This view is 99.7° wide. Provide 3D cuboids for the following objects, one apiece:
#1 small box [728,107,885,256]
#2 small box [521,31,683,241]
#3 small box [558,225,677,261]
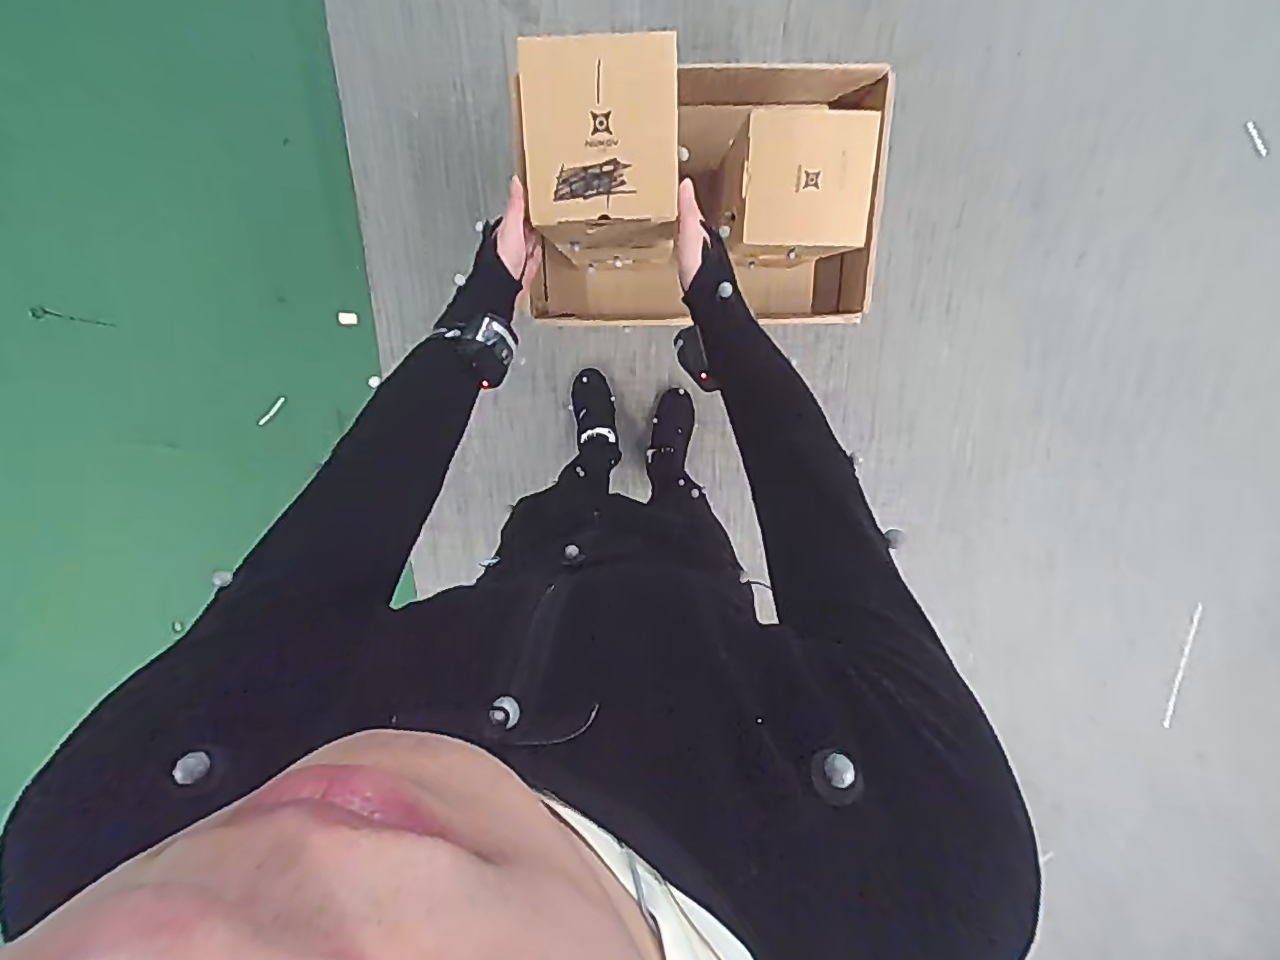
[{"bbox_3d":[0.231,-0.428,0.801,0.179,0.176,0.168,1,108,-1],"label":"small box"},{"bbox_3d":[-0.036,-0.386,0.640,0.168,0.176,0.179,-2,106,0],"label":"small box"},{"bbox_3d":[-0.031,-0.427,0.799,0.168,0.176,0.179,0,107,1],"label":"small box"}]
